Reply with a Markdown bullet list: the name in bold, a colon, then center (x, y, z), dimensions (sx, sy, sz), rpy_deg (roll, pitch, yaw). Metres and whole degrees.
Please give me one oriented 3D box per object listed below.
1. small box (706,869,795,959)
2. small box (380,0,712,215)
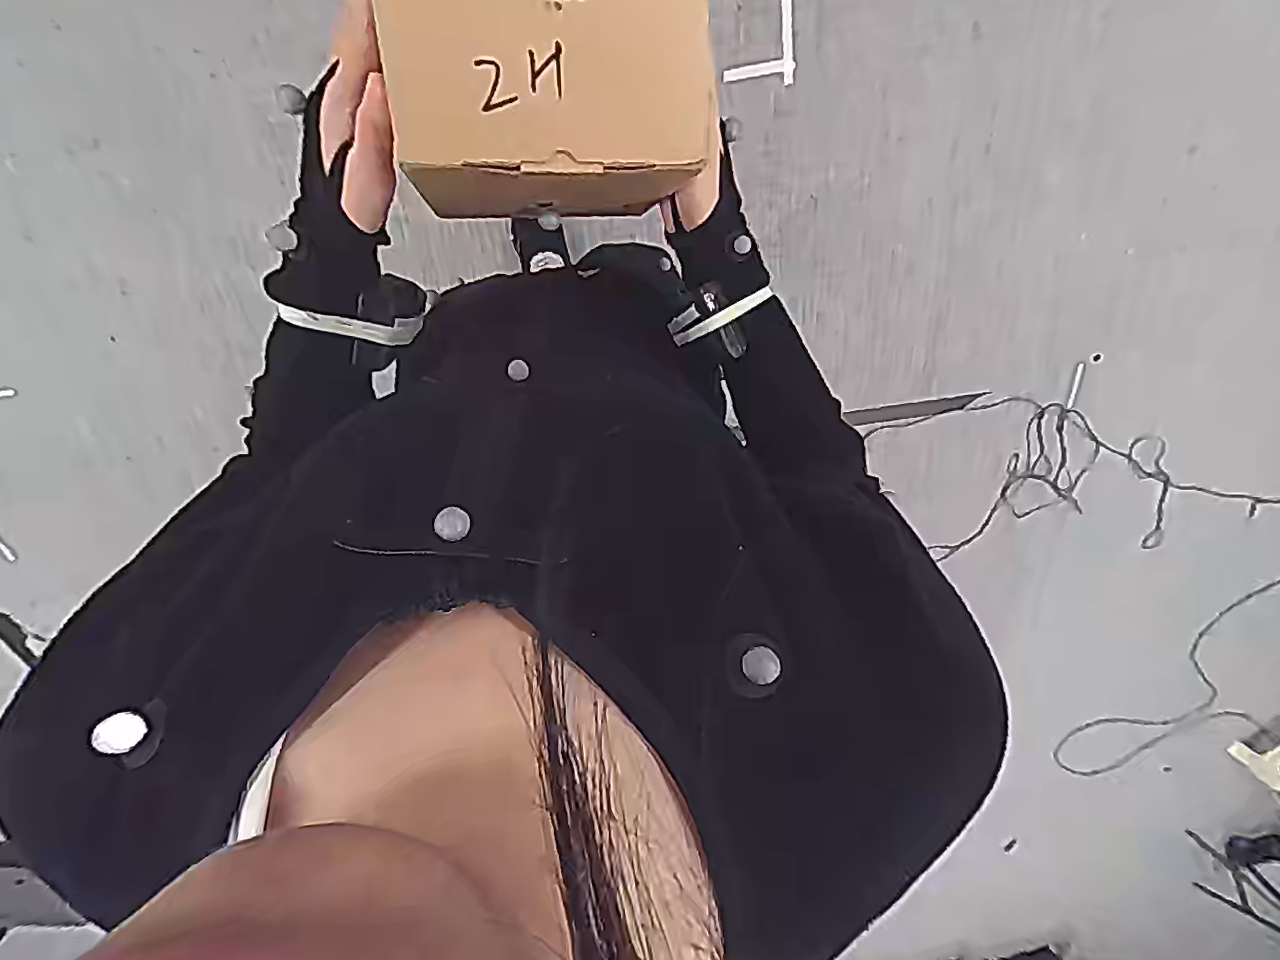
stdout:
- **small box**: center (0.257, 1.058, 1.287), dimensions (0.168, 0.176, 0.179), rpy_deg (-8, 119, -3)
- **small box**: center (-0.062, -0.275, 0.334), dimensions (0.168, 0.176, 0.179), rpy_deg (-6, 108, -12)
